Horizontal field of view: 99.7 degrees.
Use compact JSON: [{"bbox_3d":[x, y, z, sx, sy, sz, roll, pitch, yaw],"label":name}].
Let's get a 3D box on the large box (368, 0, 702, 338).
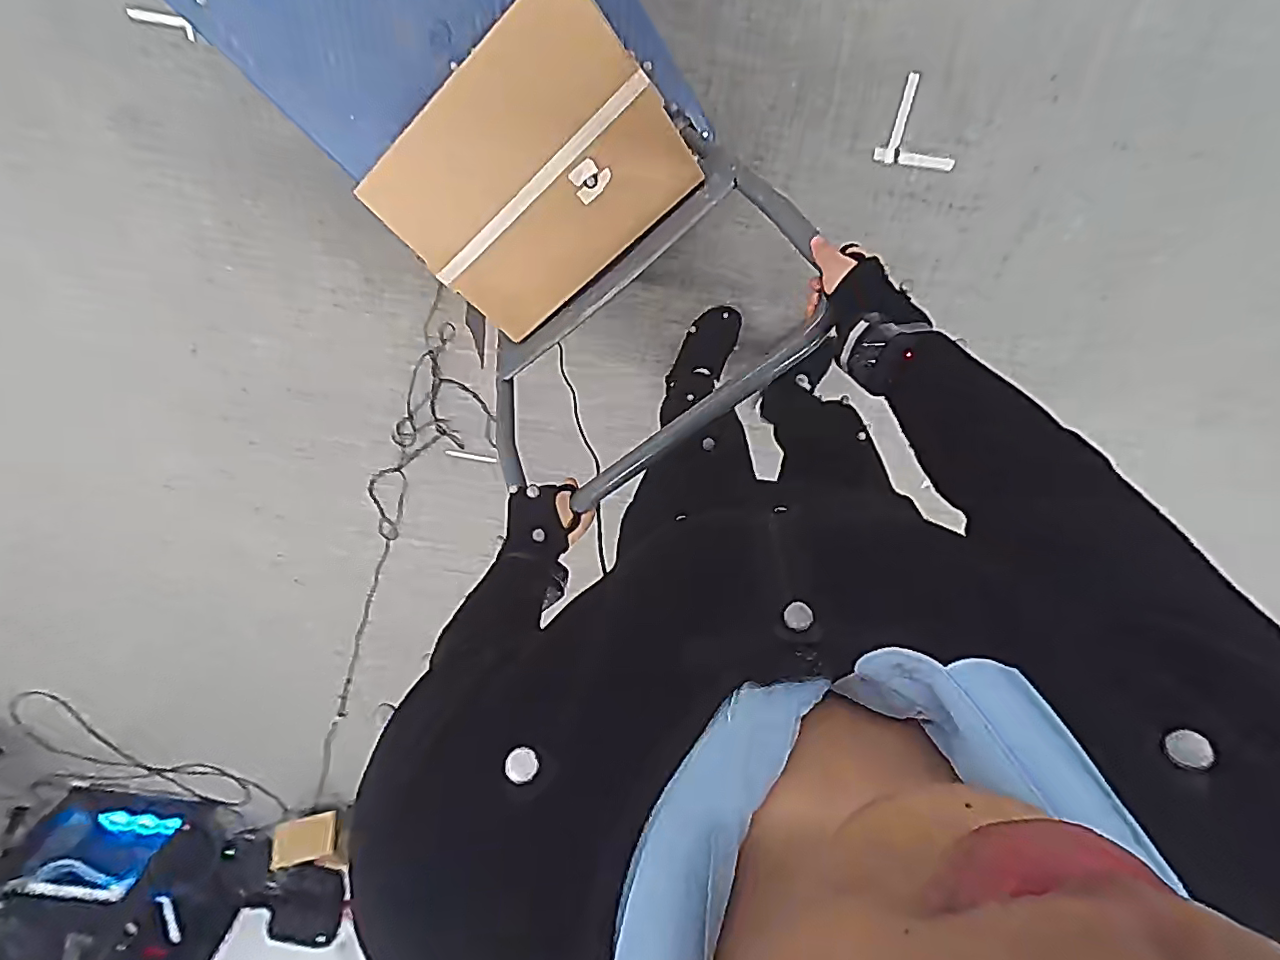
[{"bbox_3d":[-0.170,-0.528,0.906,0.408,0.320,0.320,-36,127,18],"label":"large box"}]
